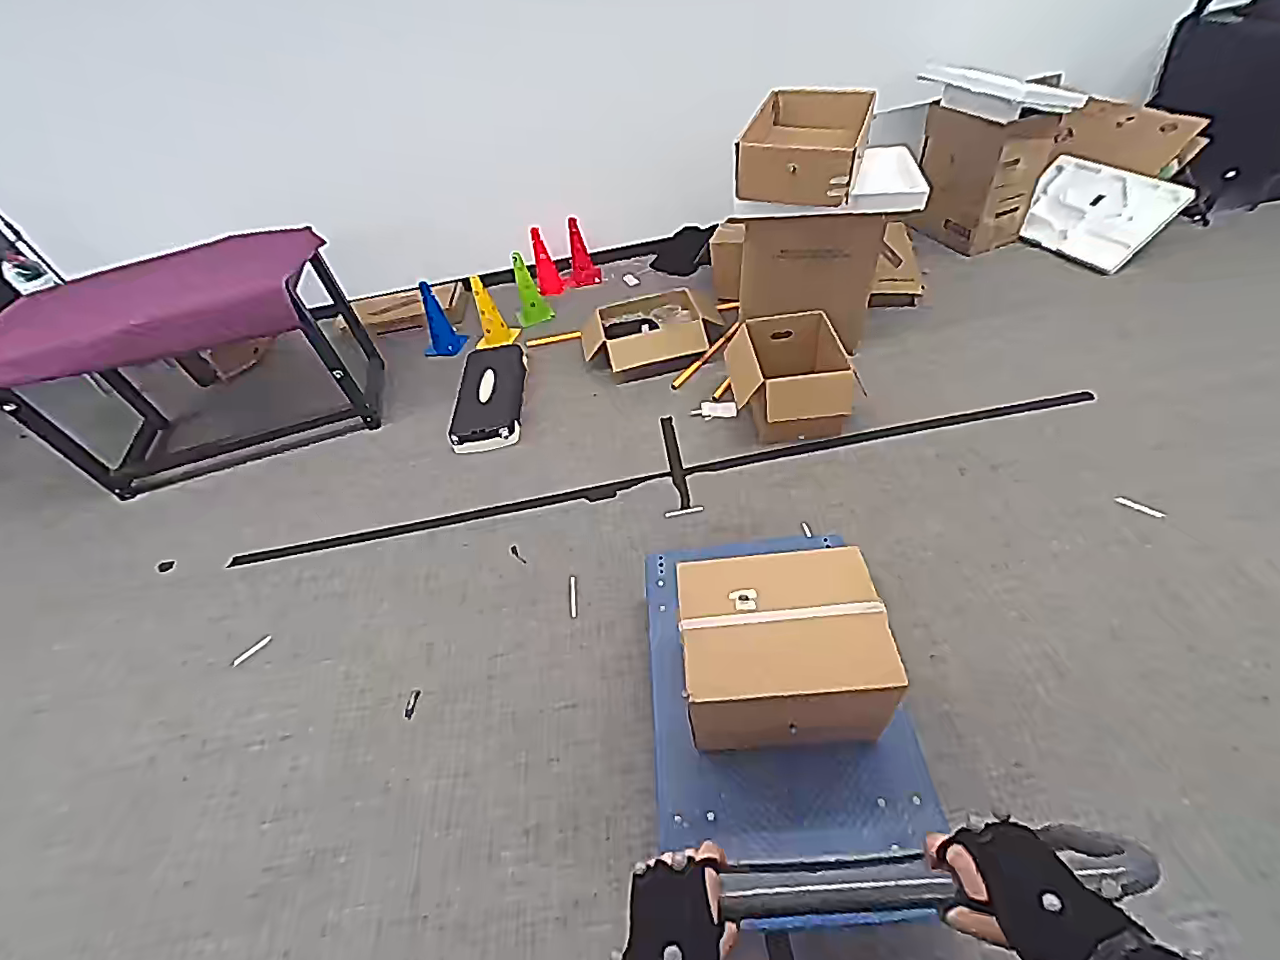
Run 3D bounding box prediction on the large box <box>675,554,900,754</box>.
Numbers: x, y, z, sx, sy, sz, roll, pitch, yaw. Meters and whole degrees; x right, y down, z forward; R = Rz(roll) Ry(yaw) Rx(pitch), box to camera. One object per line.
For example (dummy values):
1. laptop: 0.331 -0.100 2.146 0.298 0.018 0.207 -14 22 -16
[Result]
1. large box: 0.305 0.400 1.221 0.408 0.320 0.320 -7 46 5
